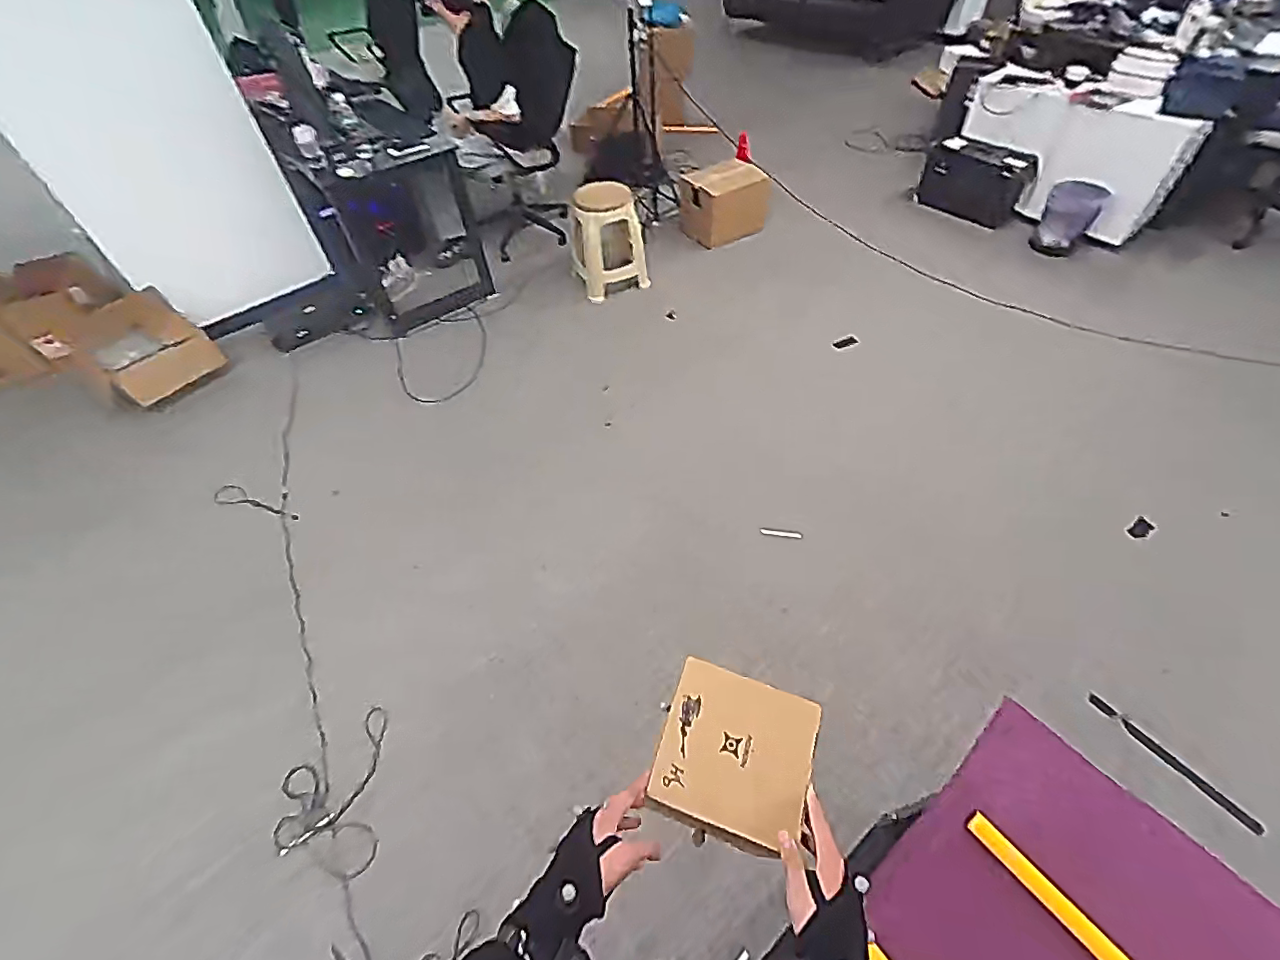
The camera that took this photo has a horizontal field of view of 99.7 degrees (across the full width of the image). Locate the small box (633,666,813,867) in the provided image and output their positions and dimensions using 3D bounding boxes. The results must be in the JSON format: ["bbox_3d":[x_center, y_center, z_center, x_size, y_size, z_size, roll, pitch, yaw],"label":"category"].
[{"bbox_3d":[0.100,0.370,0.703,0.179,0.176,0.168,19,57,8],"label":"small box"}]
